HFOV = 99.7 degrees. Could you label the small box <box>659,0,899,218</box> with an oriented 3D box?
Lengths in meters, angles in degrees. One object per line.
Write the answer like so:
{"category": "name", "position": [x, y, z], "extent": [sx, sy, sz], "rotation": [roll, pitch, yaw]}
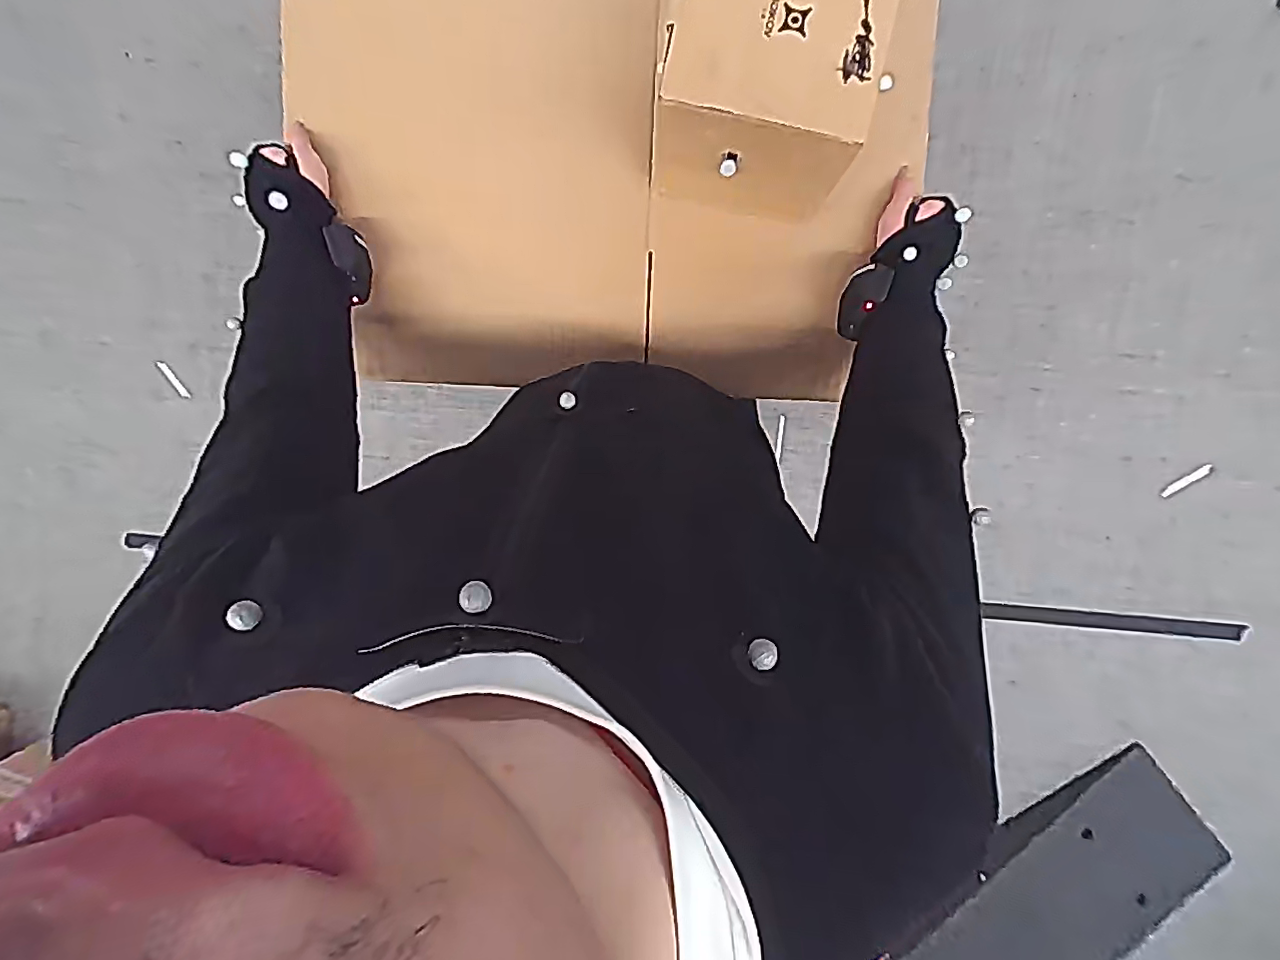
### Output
{"category": "small box", "position": [0.121, -0.379, 0.521], "extent": [0.179, 0.176, 0.168], "rotation": [13, 95, 1]}
